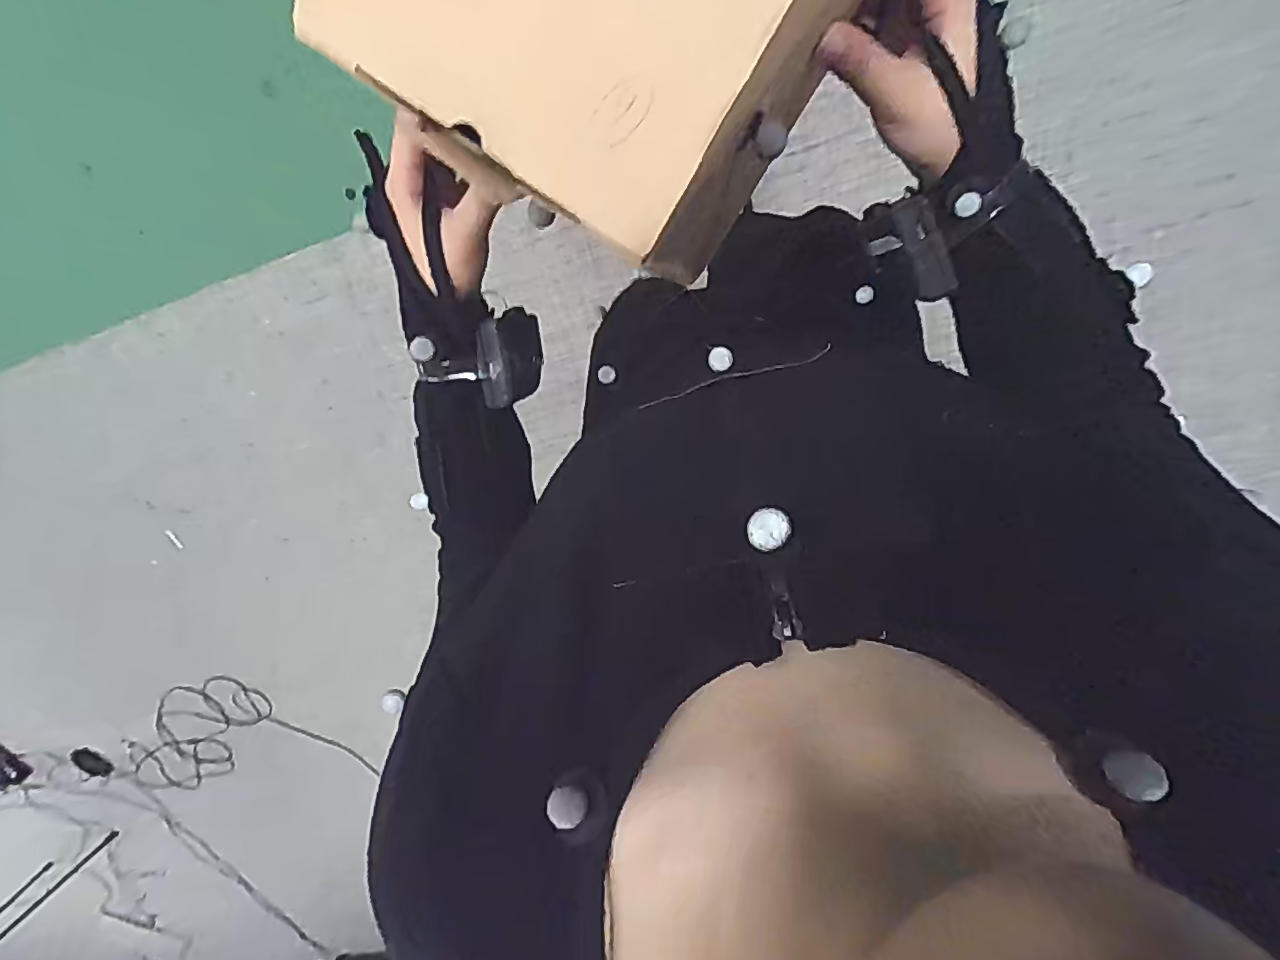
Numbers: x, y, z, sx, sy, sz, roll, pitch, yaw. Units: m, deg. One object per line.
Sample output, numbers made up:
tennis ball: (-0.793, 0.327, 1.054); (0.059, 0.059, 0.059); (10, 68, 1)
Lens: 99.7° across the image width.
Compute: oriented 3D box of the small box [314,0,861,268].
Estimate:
small box: (-0.002, -0.221, 0.255); (0.168, 0.176, 0.179); (35, 112, 1)
